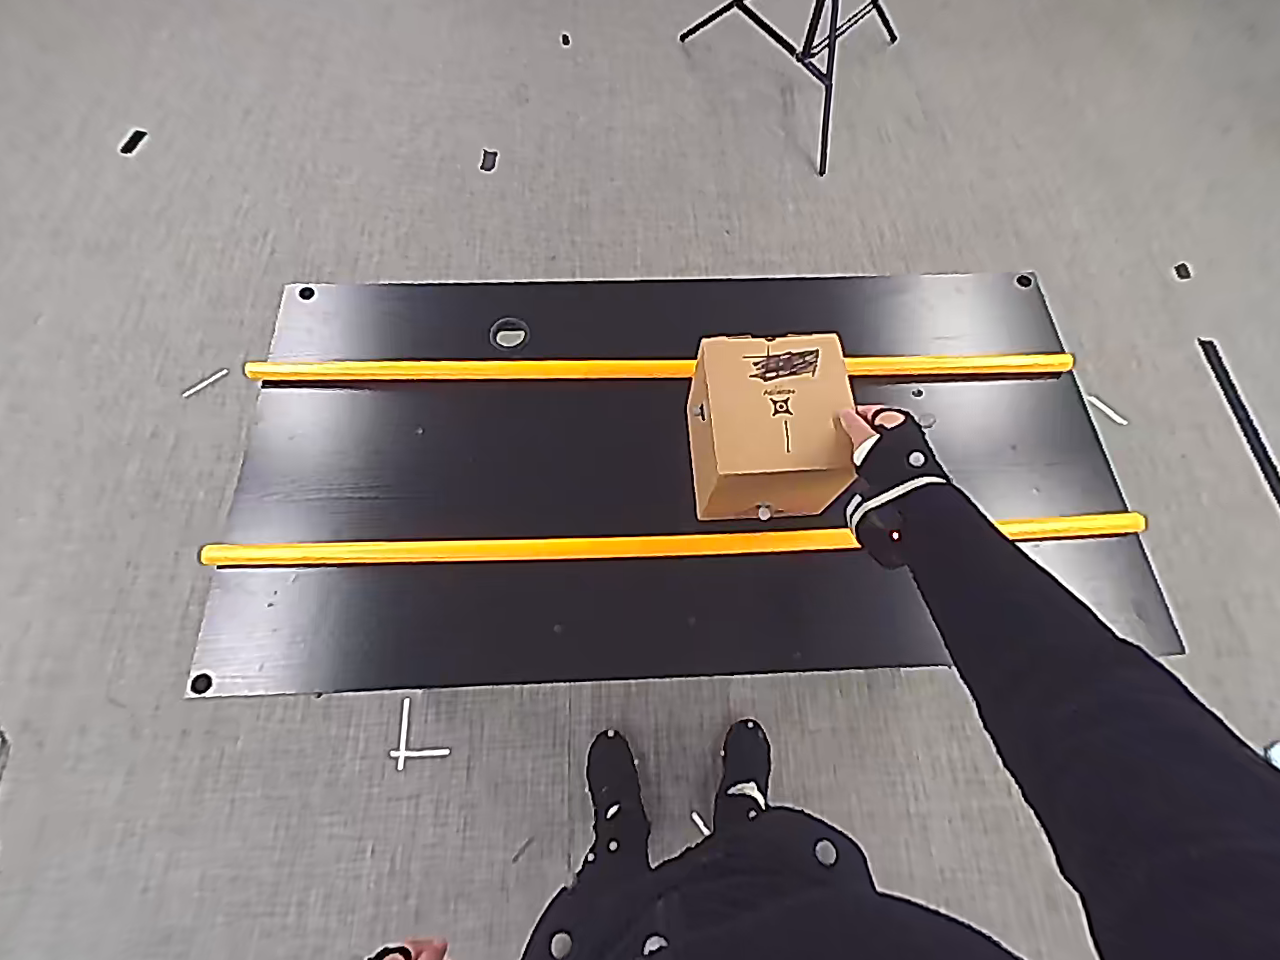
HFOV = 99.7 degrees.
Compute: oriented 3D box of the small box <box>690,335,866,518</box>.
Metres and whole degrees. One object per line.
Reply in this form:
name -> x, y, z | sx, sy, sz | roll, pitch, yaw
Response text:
small box -> 0.158, -0.062, 0.686 | 0.168, 0.176, 0.179 | -2, 69, -2
